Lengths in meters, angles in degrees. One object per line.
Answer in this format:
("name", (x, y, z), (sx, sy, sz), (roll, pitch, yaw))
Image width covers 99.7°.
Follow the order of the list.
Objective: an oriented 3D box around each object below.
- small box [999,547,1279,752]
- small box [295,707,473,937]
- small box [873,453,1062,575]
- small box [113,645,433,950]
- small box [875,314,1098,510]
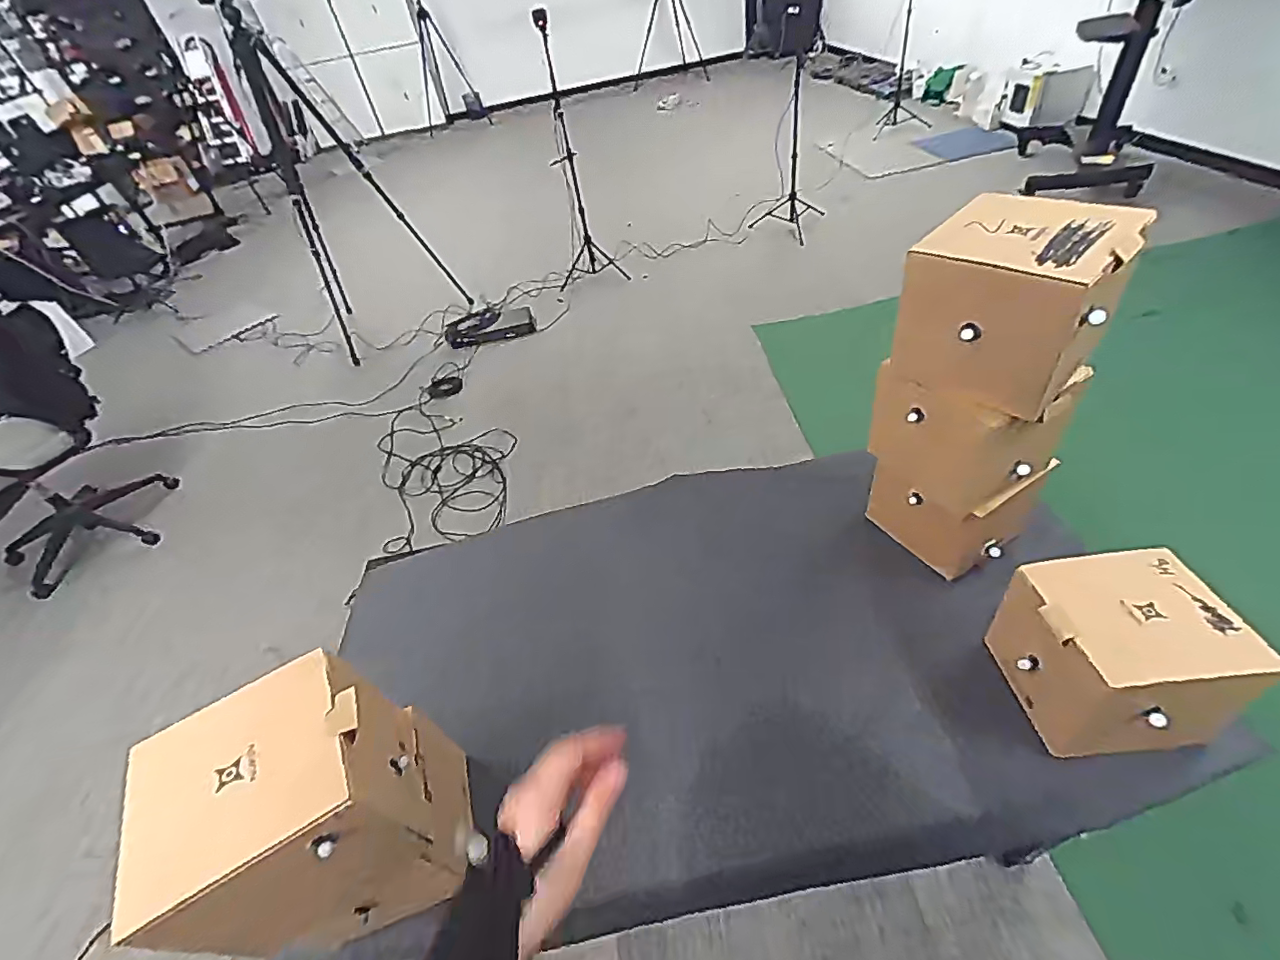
("small box", (0.563, 0.205, 0.644), (0.179, 0.176, 0.168), (-9, 41, 5))
("small box", (-0.311, 0.405, 0.642), (0.179, 0.176, 0.168), (-20, 46, -7))
("small box", (0.497, 0.016, 0.853), (0.168, 0.176, 0.179), (-30, 49, -13))
("small box", (-0.331, 0.302, 0.516), (0.179, 0.176, 0.168), (-28, 48, -16))
("small box", (0.447, -0.092, 0.736), (0.168, 0.176, 0.179), (-27, 47, -10))
